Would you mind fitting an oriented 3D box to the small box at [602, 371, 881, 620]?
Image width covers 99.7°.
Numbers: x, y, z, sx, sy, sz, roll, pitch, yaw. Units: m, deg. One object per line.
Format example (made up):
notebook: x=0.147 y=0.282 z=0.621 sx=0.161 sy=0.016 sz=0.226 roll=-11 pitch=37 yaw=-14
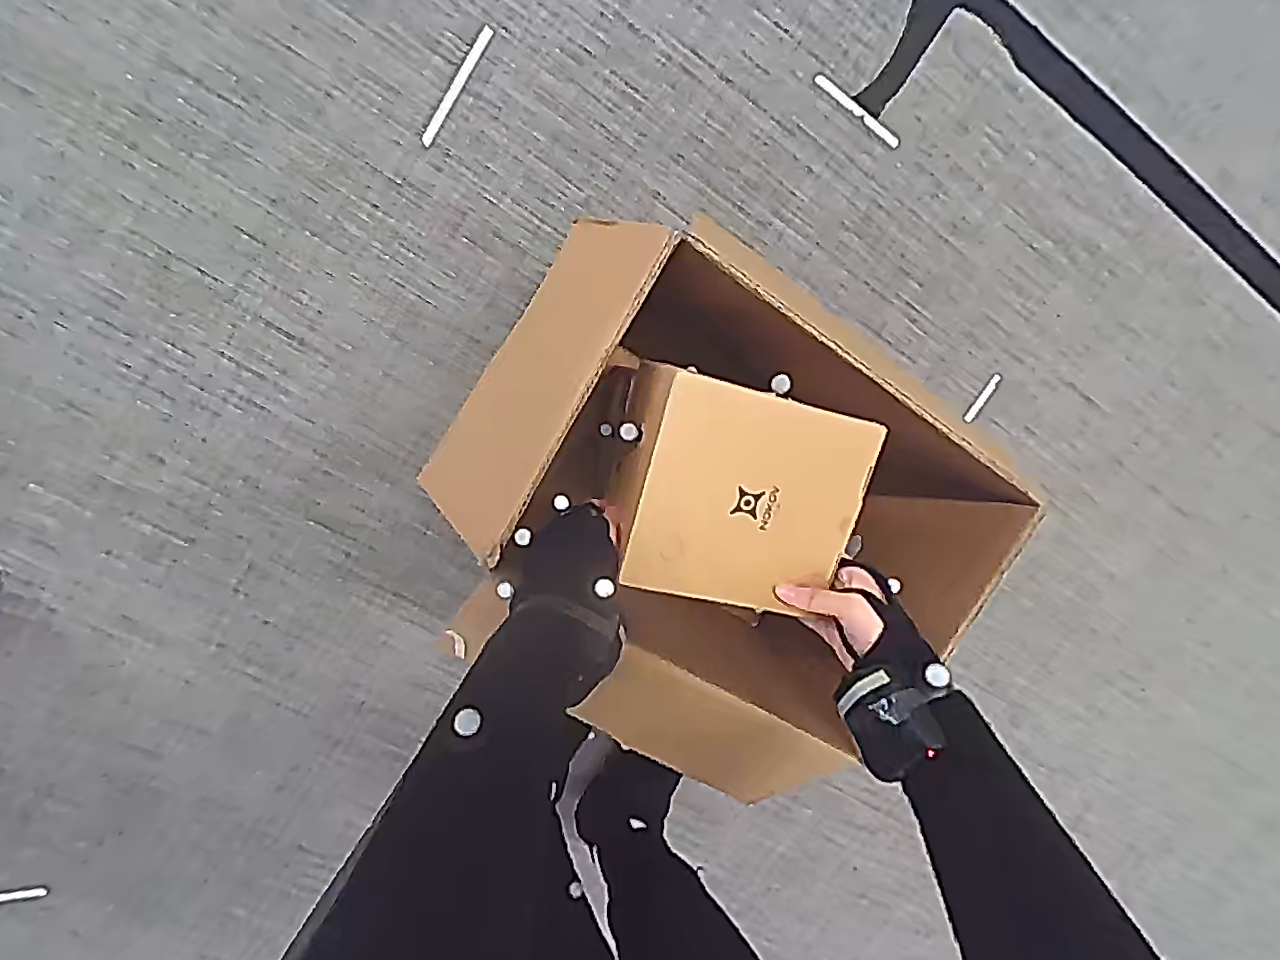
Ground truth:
small box: x=0.070 y=0.002 z=0.487 sx=0.179 sy=0.176 sz=0.168 roll=12 pitch=102 yaw=-13
